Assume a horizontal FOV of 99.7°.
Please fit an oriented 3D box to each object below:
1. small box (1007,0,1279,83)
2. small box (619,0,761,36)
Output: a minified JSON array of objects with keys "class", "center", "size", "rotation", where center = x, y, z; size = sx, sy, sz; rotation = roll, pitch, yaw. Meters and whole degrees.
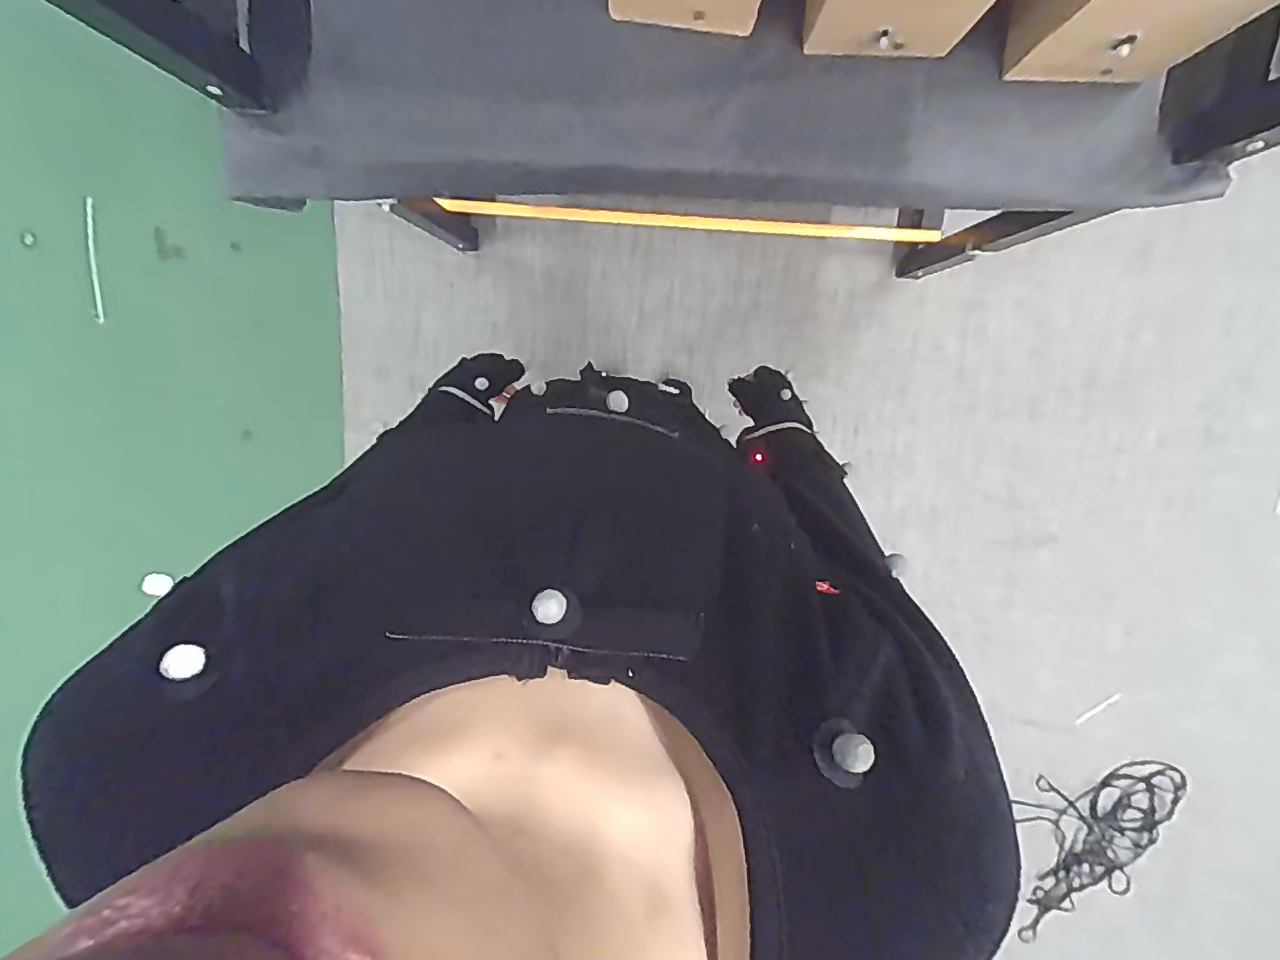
[{"class":"small box","center":[0.503,-0.527,0.533],"size":[0.168,0.176,0.179],"rotation":[3,101,1]},{"class":"small box","center":[0.059,-0.593,0.540],"size":[0.168,0.176,0.179],"rotation":[8,102,0]}]
